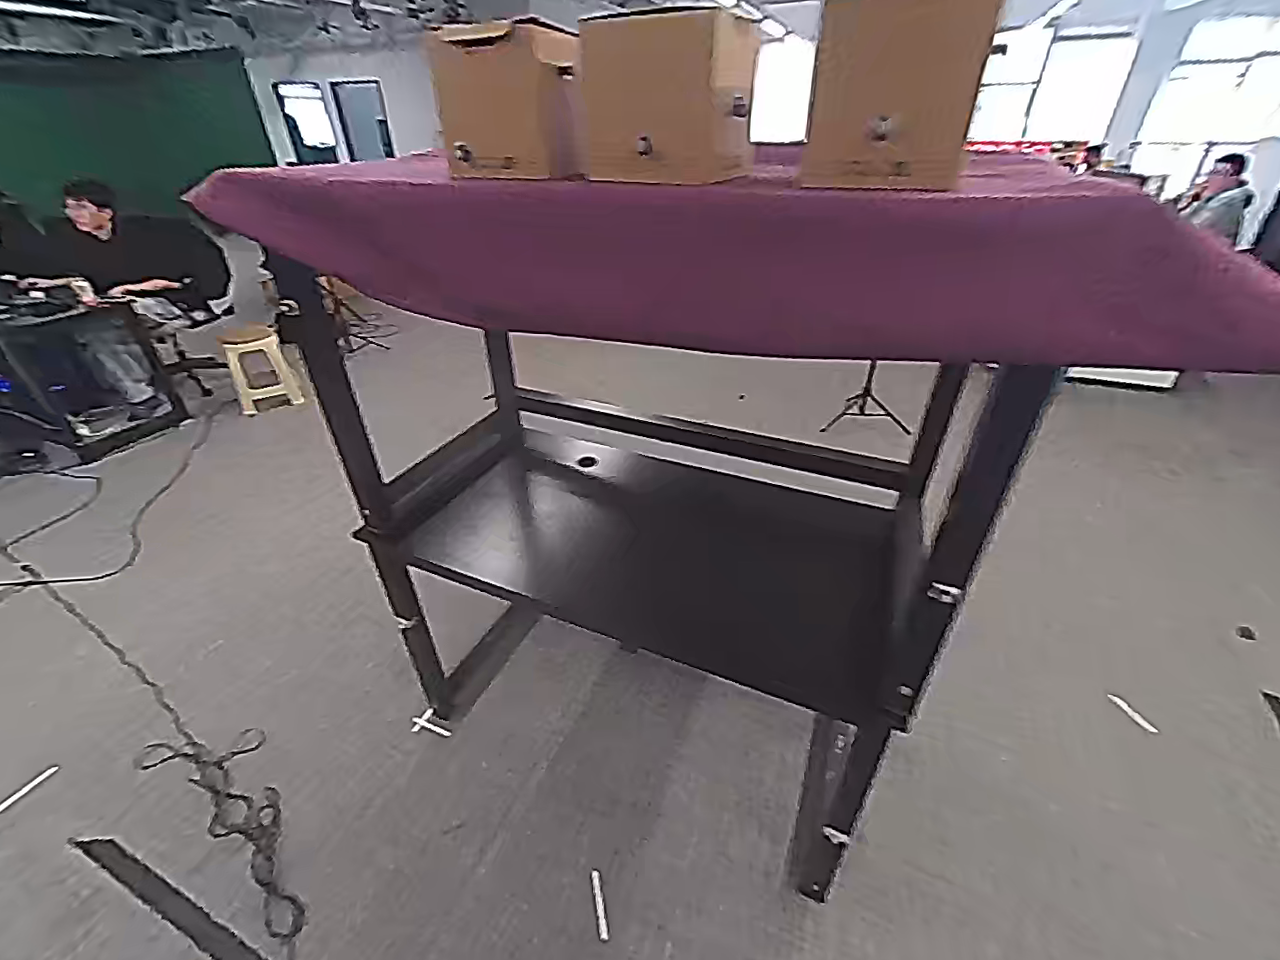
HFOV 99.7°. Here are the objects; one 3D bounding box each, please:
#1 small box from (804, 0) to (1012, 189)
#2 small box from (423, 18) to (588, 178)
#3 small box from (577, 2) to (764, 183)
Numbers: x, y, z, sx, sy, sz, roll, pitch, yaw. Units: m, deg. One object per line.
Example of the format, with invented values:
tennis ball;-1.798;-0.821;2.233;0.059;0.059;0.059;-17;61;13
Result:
small box;0.288;-0.425;0.595;0.168;0.176;0.179;14;36;23
small box;-0.170;-0.532;0.771;0.168;0.176;0.179;11;34;17
small box;0.041;-0.480;0.687;0.179;0.176;0.168;16;36;23
